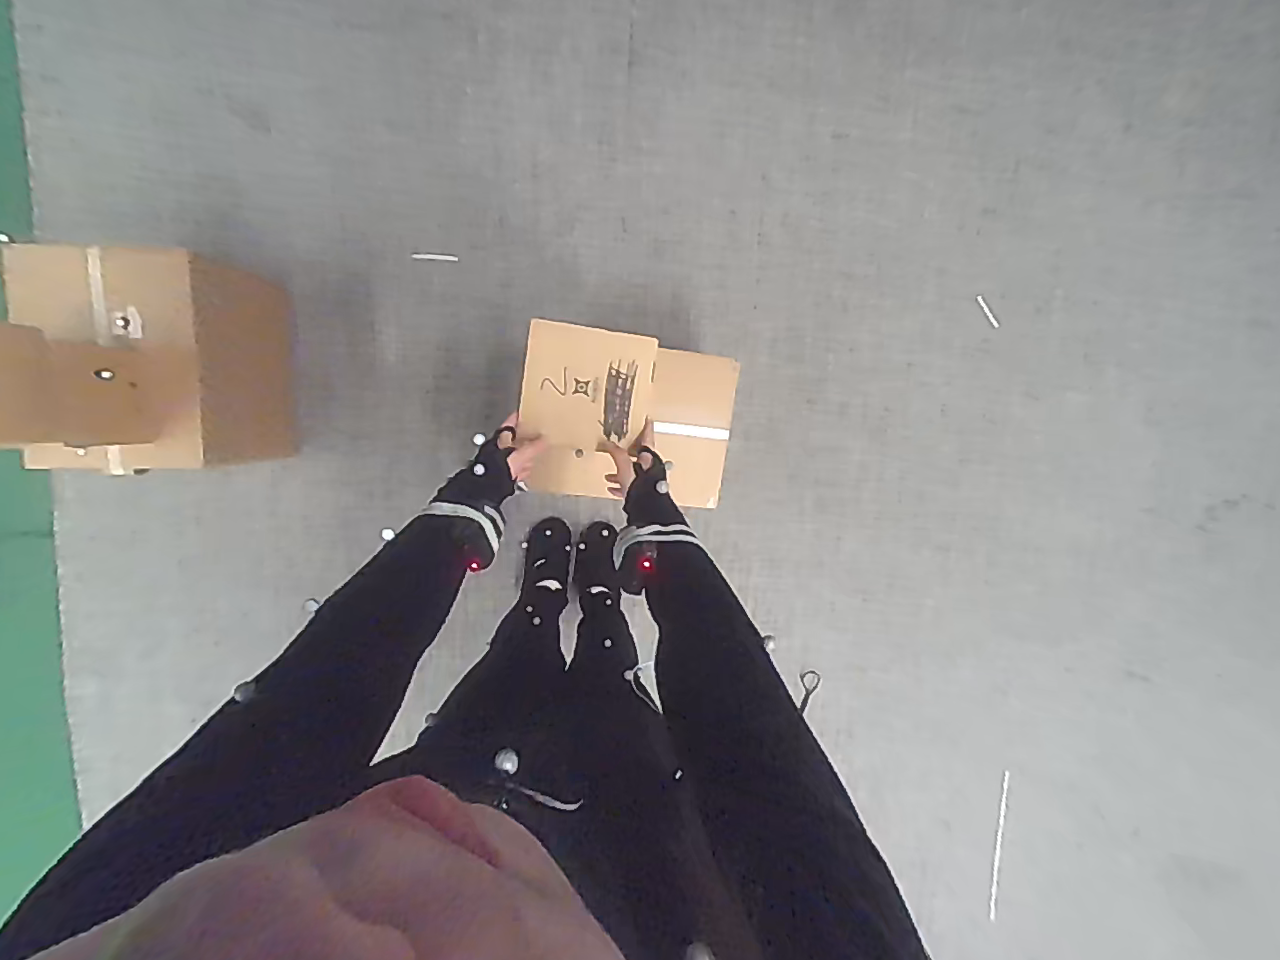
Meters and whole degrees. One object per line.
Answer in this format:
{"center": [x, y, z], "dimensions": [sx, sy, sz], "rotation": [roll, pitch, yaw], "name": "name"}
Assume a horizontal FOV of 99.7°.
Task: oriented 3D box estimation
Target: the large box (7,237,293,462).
{"center": [-0.978, -0.246, 1.132], "dimensions": [0.320, 0.320, 0.408], "rotation": [1, 96, -5], "name": "large box"}

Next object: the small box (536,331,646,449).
{"center": [-0.087, -0.155, 0.974], "dimensions": [0.168, 0.176, 0.179], "rotation": [7, 94, -6], "name": "small box"}

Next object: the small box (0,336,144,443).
{"center": [-0.976, -0.148, 0.897], "dimensions": [0.179, 0.176, 0.168], "rotation": [0, 96, -4], "name": "small box"}

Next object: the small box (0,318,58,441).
{"center": [-0.961, -0.136, 0.735], "dimensions": [0.168, 0.176, 0.179], "rotation": [-5, 96, -5], "name": "small box"}
